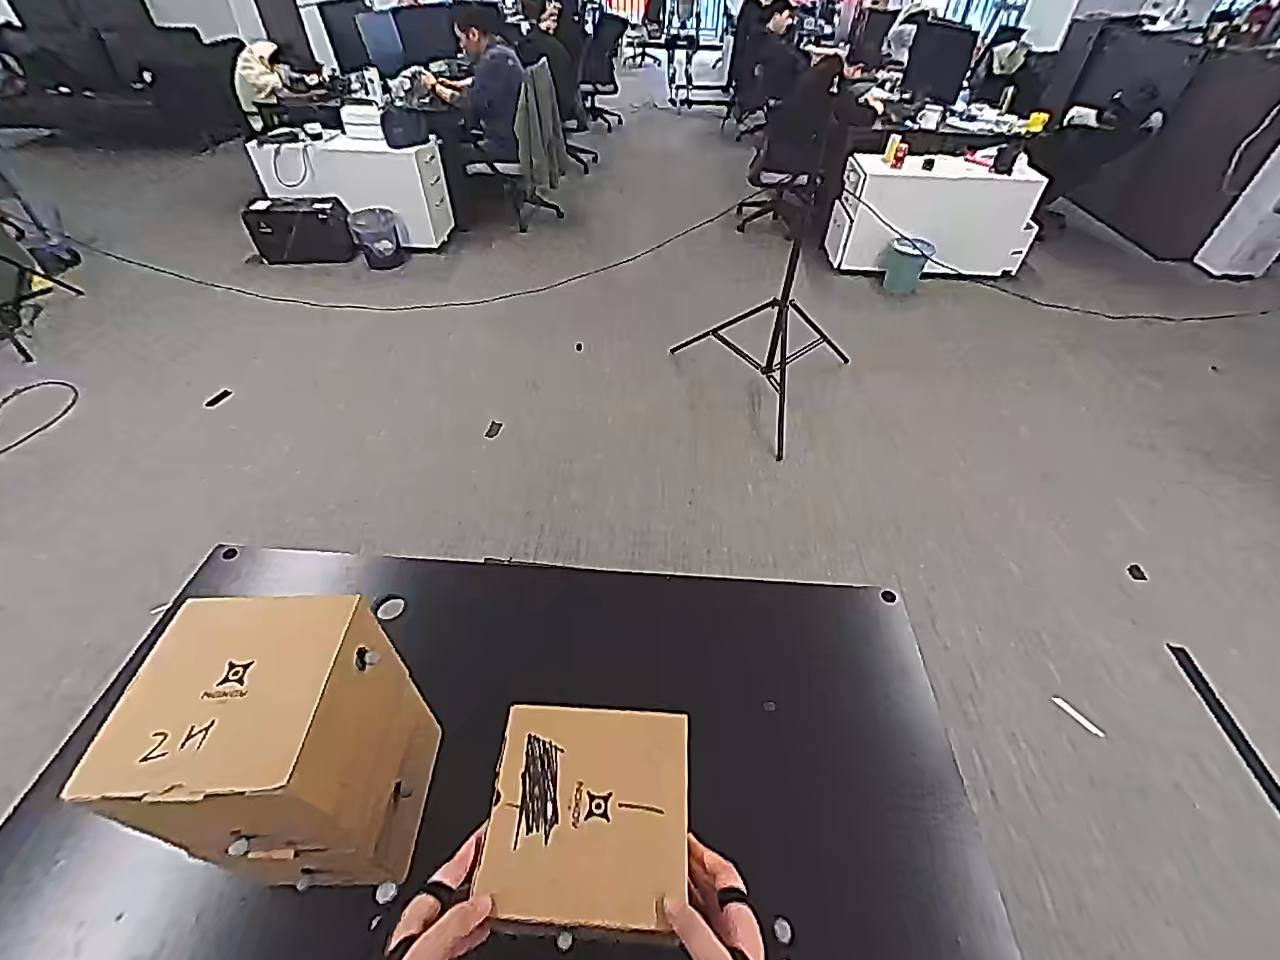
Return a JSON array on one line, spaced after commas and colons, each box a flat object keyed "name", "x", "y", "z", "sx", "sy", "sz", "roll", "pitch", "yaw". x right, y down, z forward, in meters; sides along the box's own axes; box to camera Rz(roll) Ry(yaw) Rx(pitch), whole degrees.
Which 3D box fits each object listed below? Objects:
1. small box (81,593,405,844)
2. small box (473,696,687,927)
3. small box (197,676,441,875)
[{"name": "small box", "x": -0.348, "y": 0.230, "z": 0.526, "sx": 0.168, "sy": 0.176, "sz": 0.179, "roll": -1, "pitch": 45, "yaw": -2}, {"name": "small box", "x": -0.044, "y": 0.335, "z": 0.544, "sx": 0.179, "sy": 0.176, "sz": 0.168, "roll": 2, "pitch": 47, "yaw": 2}, {"name": "small box", "x": -0.351, "y": 0.352, "z": 0.640, "sx": 0.168, "sy": 0.176, "sz": 0.179, "roll": 0, "pitch": 45, "yaw": -1}]
